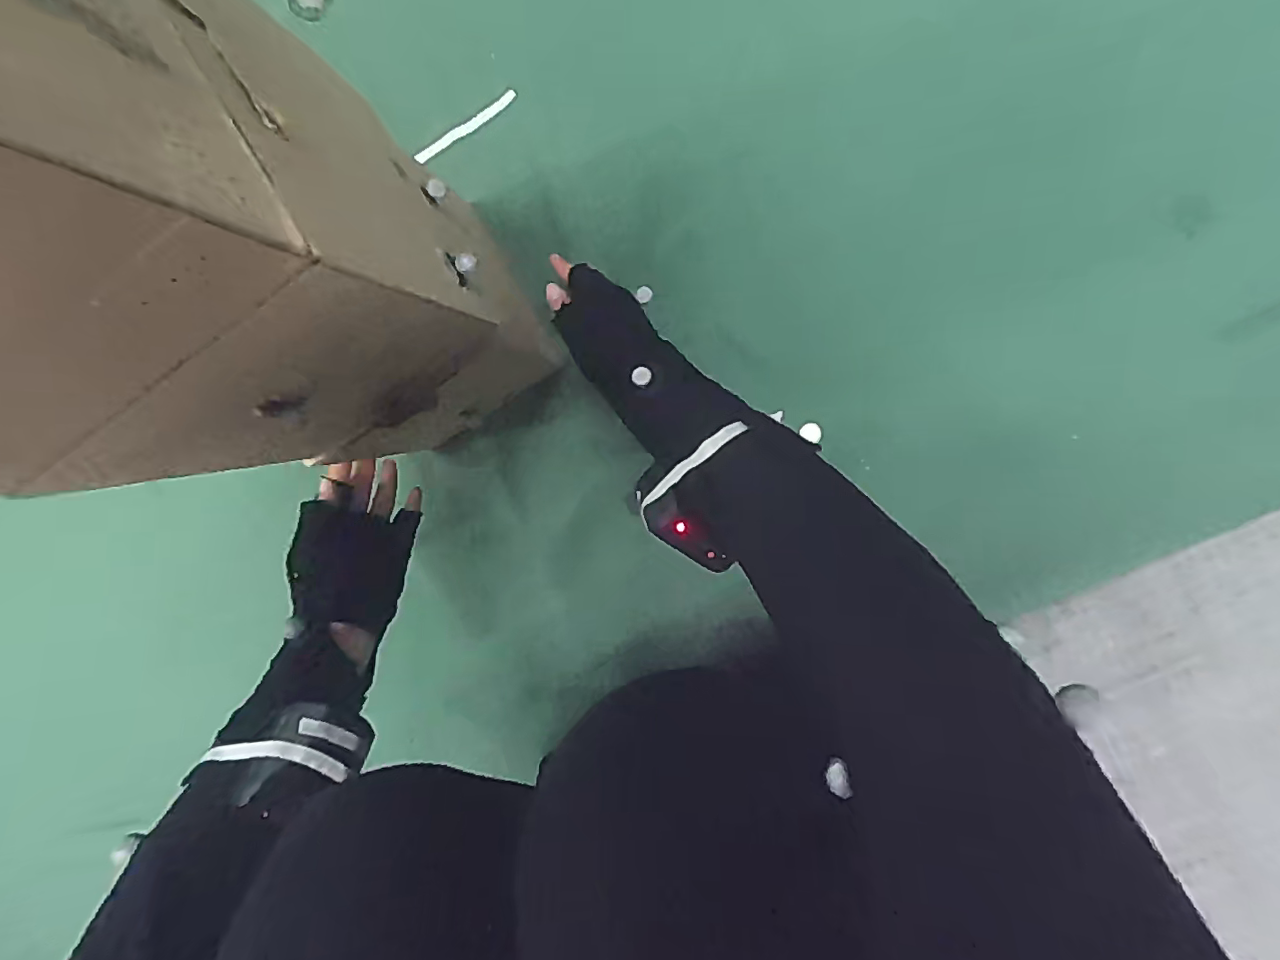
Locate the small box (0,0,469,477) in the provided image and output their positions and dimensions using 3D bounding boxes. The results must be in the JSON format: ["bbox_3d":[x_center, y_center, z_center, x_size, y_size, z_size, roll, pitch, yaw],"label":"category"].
[{"bbox_3d":[-0.215,-0.119,0.280,0.179,0.176,0.168,-28,91,11],"label":"small box"}]

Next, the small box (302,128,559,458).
[{"bbox_3d":[-0.194,-0.136,0.445,0.168,0.176,0.179,-29,93,12],"label":"small box"}]

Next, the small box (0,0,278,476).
[{"bbox_3d":[-0.243,-0.096,0.125,0.179,0.176,0.168,-31,92,11],"label":"small box"}]
